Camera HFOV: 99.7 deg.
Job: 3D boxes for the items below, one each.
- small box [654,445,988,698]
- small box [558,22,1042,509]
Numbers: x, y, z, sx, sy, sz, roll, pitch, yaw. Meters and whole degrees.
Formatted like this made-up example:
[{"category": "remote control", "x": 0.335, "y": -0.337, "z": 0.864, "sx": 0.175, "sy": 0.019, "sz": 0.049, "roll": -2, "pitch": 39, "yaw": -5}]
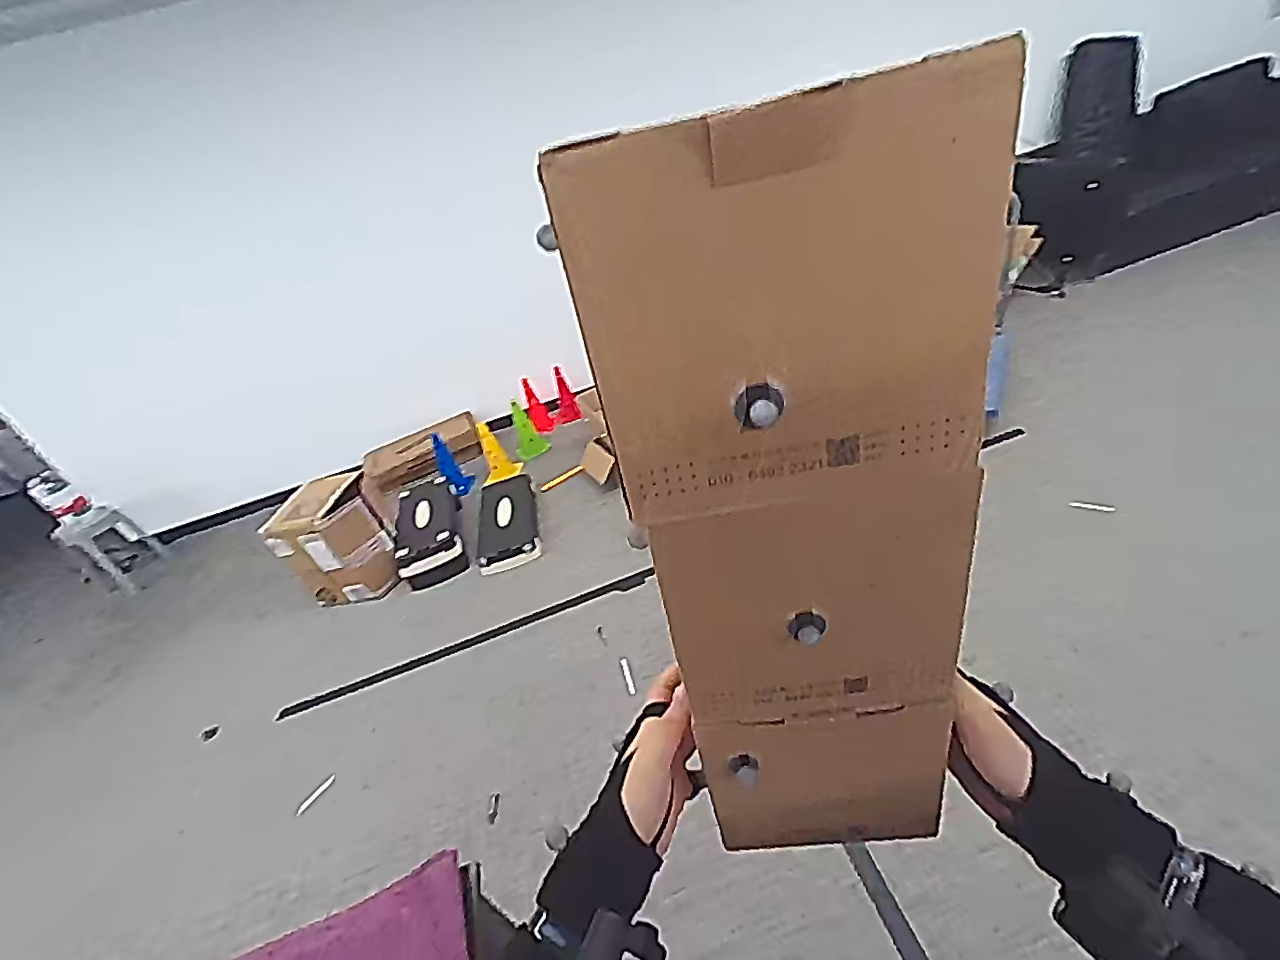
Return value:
[{"category": "small box", "x": 0.106, "y": 0.030, "z": 0.374, "sx": 0.168, "sy": 0.176, "sz": 0.179, "roll": -9, "pitch": 30, "yaw": 7}, {"category": "small box", "x": 0.067, "y": -0.107, "z": 0.294, "sx": 0.168, "sy": 0.176, "sz": 0.179, "roll": -10, "pitch": 31, "yaw": 7}]
